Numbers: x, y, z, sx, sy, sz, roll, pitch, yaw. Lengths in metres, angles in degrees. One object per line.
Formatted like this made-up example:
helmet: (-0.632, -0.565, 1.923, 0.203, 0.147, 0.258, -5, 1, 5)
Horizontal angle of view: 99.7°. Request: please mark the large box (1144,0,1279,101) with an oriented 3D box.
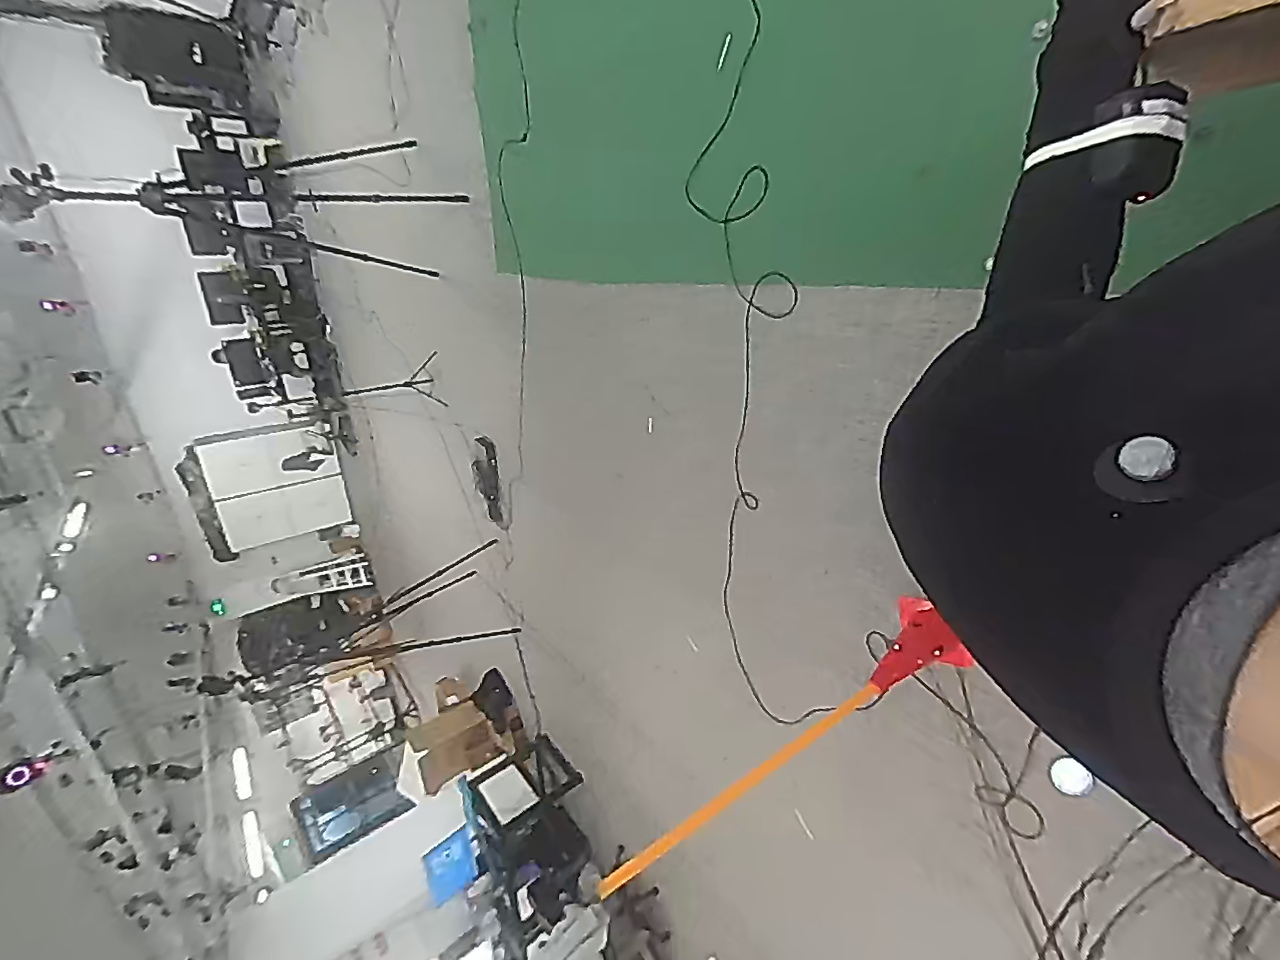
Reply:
large box: (0.561, -0.456, 0.281, 0.408, 0.320, 0.320, 10, 115, 40)
